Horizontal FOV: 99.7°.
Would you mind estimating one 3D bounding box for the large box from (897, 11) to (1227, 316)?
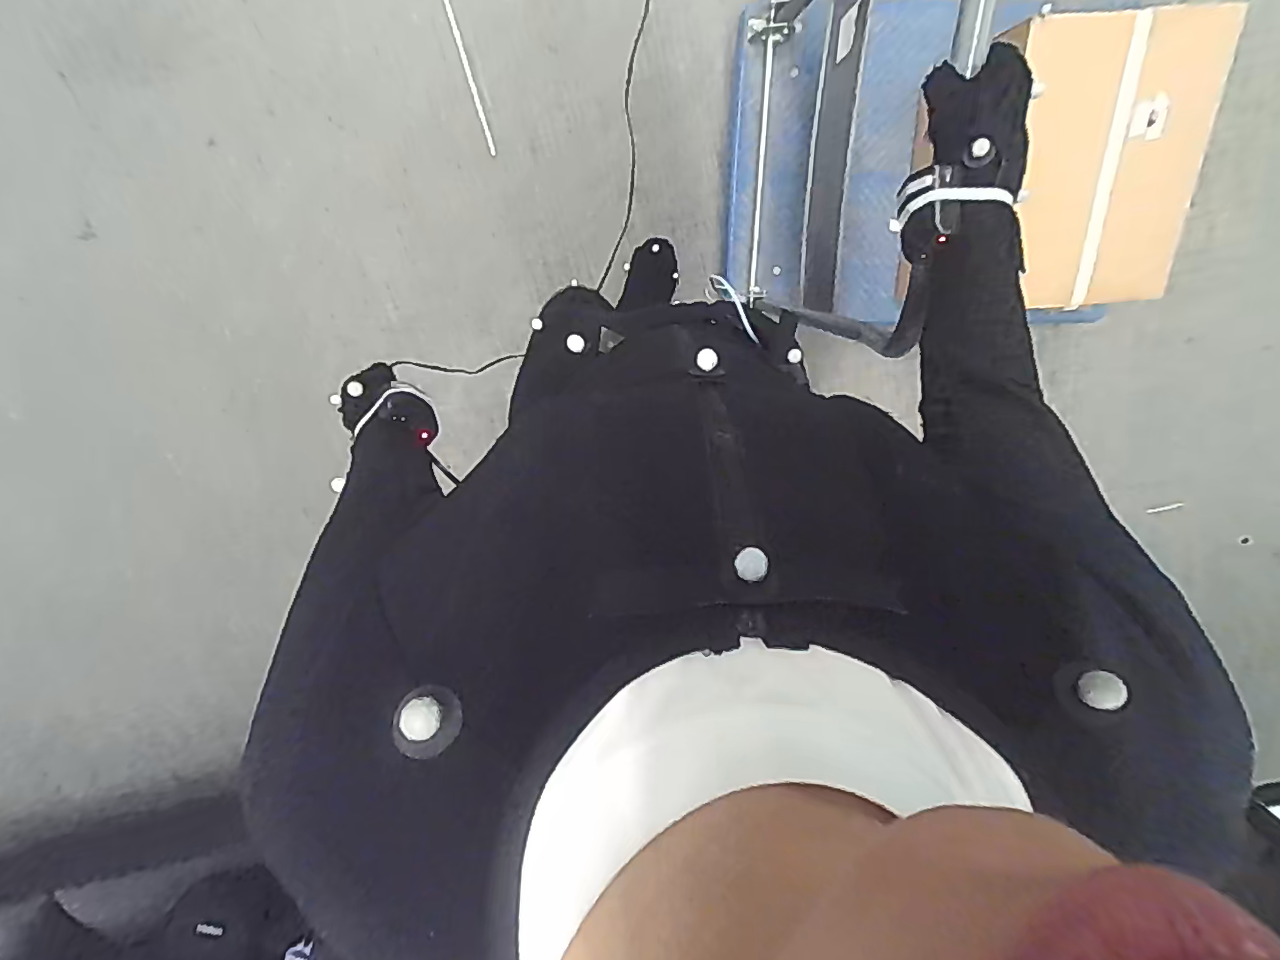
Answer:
[{"bbox_3d":[0.701,-0.527,0.982,0.320,0.320,0.408,-5,111,-1],"label":"large box"}]
